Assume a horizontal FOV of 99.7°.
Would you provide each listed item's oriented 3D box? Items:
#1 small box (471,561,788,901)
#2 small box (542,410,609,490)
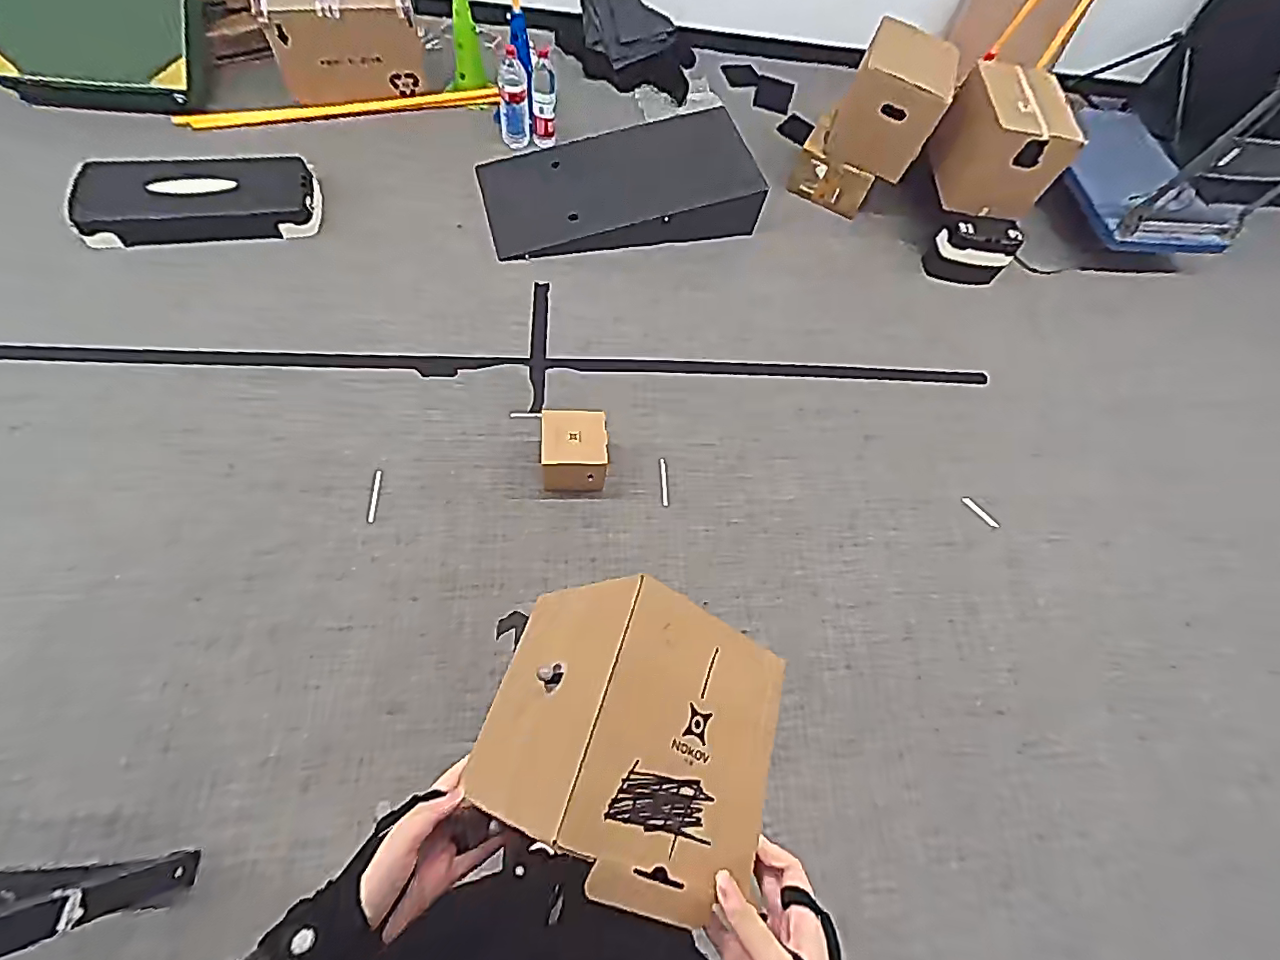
[{"bbox_3d":[-0.012,0.190,0.434,0.168,0.176,0.179,37,55,-24],"label":"small box"},{"bbox_3d":[-0.182,-0.080,1.505,0.179,0.176,0.168,0,65,-8],"label":"small box"}]
